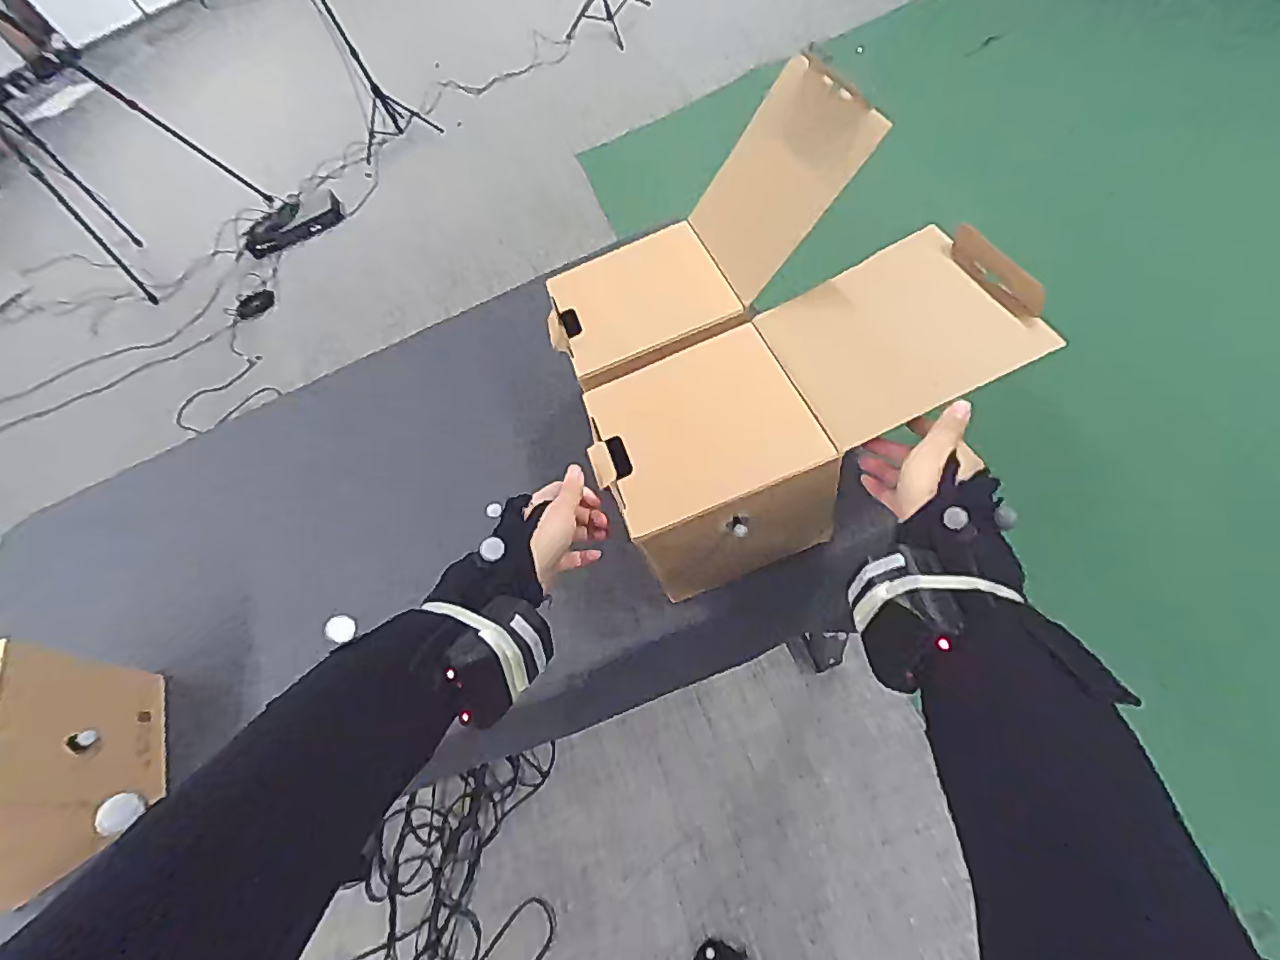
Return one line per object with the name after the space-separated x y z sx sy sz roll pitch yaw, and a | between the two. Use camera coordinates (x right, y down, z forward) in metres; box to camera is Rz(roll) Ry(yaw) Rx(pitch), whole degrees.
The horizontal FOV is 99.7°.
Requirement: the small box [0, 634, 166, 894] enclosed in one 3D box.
-0.630 0.290 0.547 0.179 0.176 0.168 -34 56 -5 | small box
